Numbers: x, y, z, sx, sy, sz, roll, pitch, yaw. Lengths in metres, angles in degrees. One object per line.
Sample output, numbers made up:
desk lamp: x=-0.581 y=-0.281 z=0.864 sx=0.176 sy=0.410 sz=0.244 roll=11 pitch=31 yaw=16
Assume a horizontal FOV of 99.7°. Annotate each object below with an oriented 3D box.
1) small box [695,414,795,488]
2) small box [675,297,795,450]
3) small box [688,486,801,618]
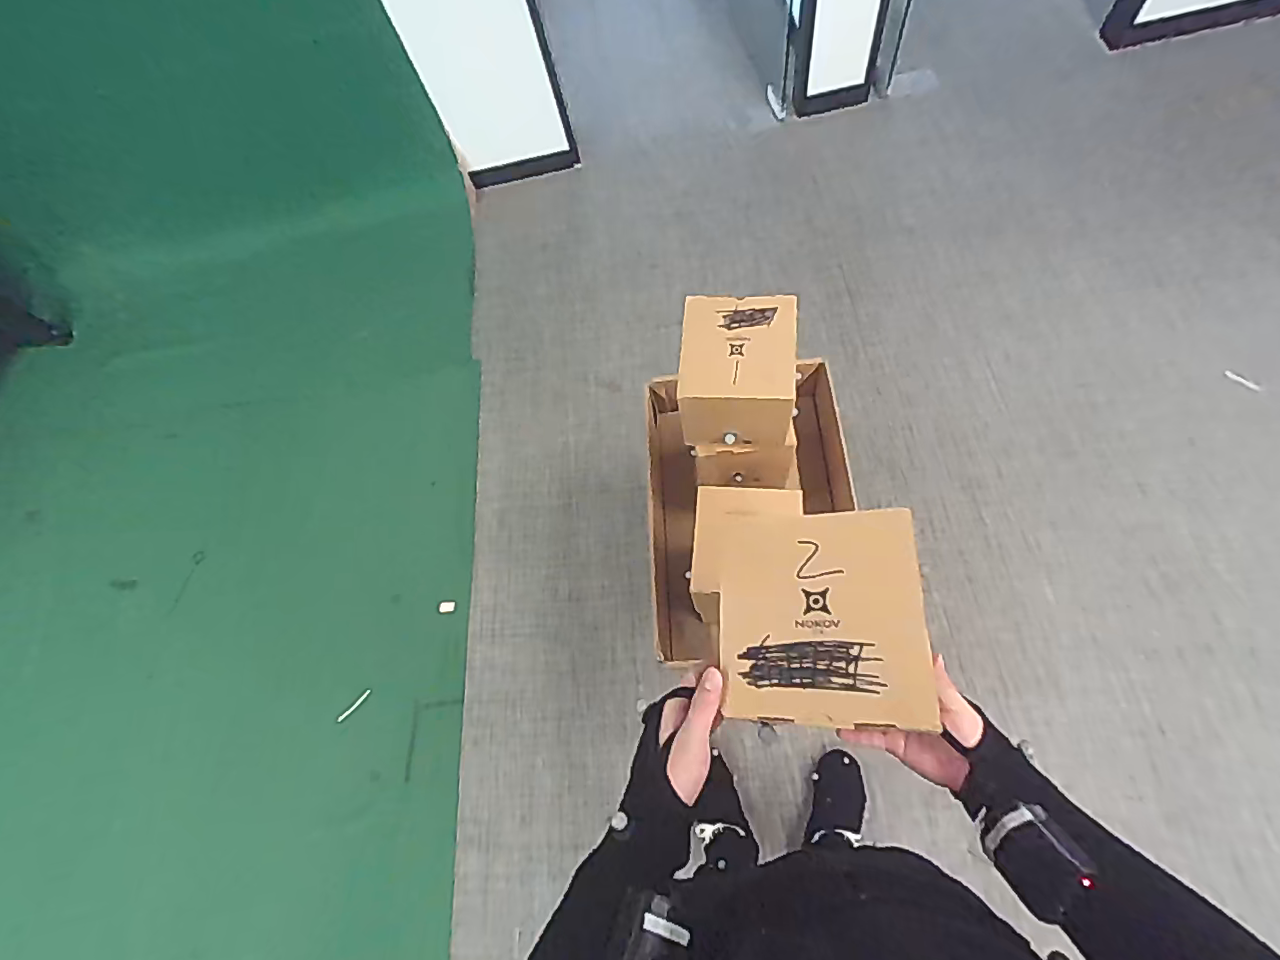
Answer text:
small box: x=0.182 y=-0.099 z=1.001 sx=0.168 sy=0.176 sz=0.179 roll=-7 pitch=68 yaw=7
small box: x=0.150 y=-0.164 z=0.854 sx=0.168 sy=0.176 sz=0.179 roll=3 pitch=70 yaw=11
small box: x=0.175 y=0.125 z=0.901 sx=0.168 sy=0.176 sz=0.179 roll=3 pitch=66 yaw=11
